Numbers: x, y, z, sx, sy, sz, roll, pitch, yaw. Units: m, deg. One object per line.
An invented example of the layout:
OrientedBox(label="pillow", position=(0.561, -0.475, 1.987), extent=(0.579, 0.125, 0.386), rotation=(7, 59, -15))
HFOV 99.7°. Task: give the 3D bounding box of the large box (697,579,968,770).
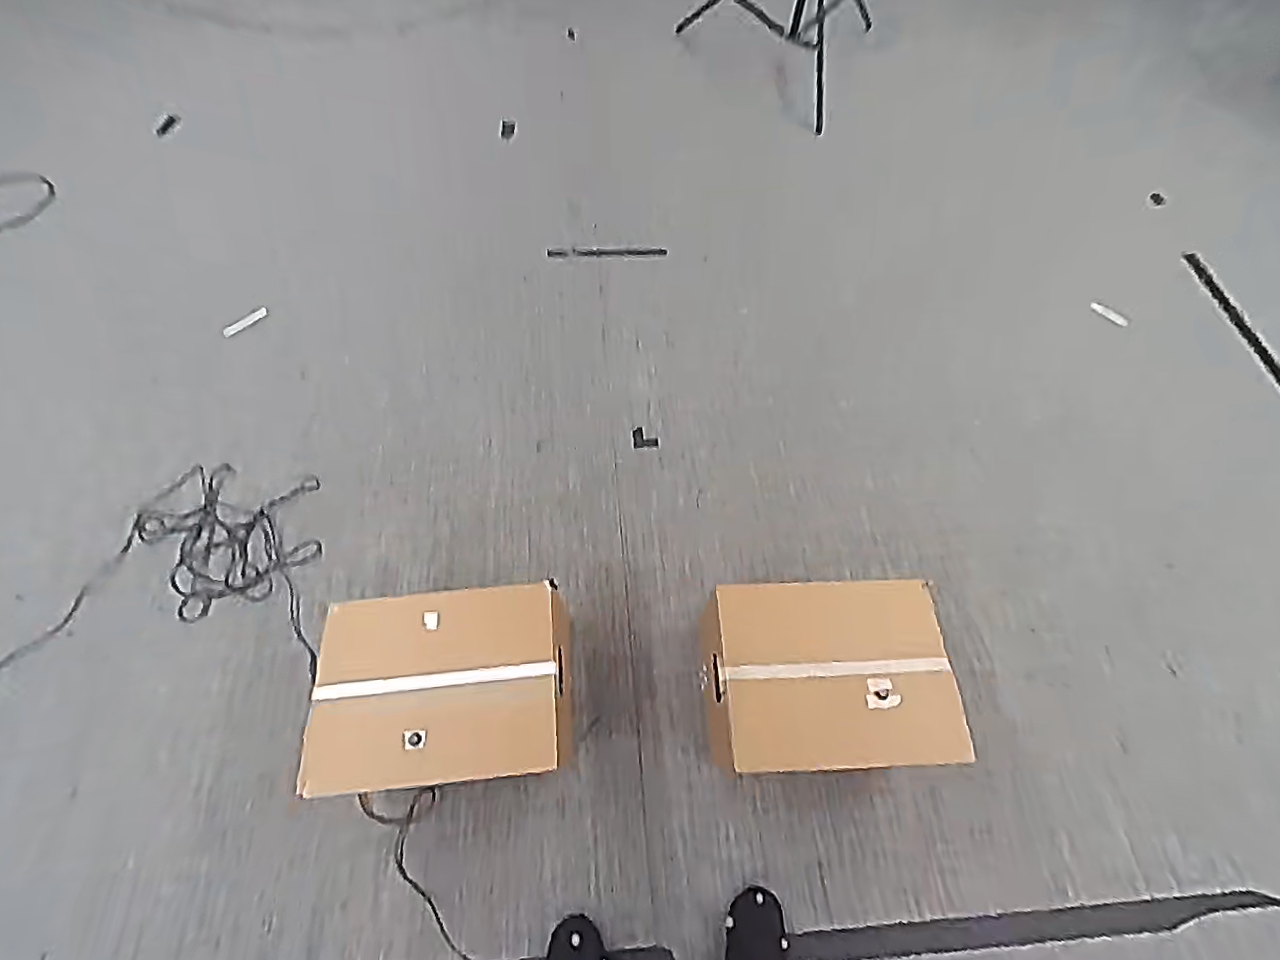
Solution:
OrientedBox(label="large box", position=(0.344, 0.401, 1.098), extent=(0.408, 0.320, 0.320), rotation=(-1, 64, -3))
